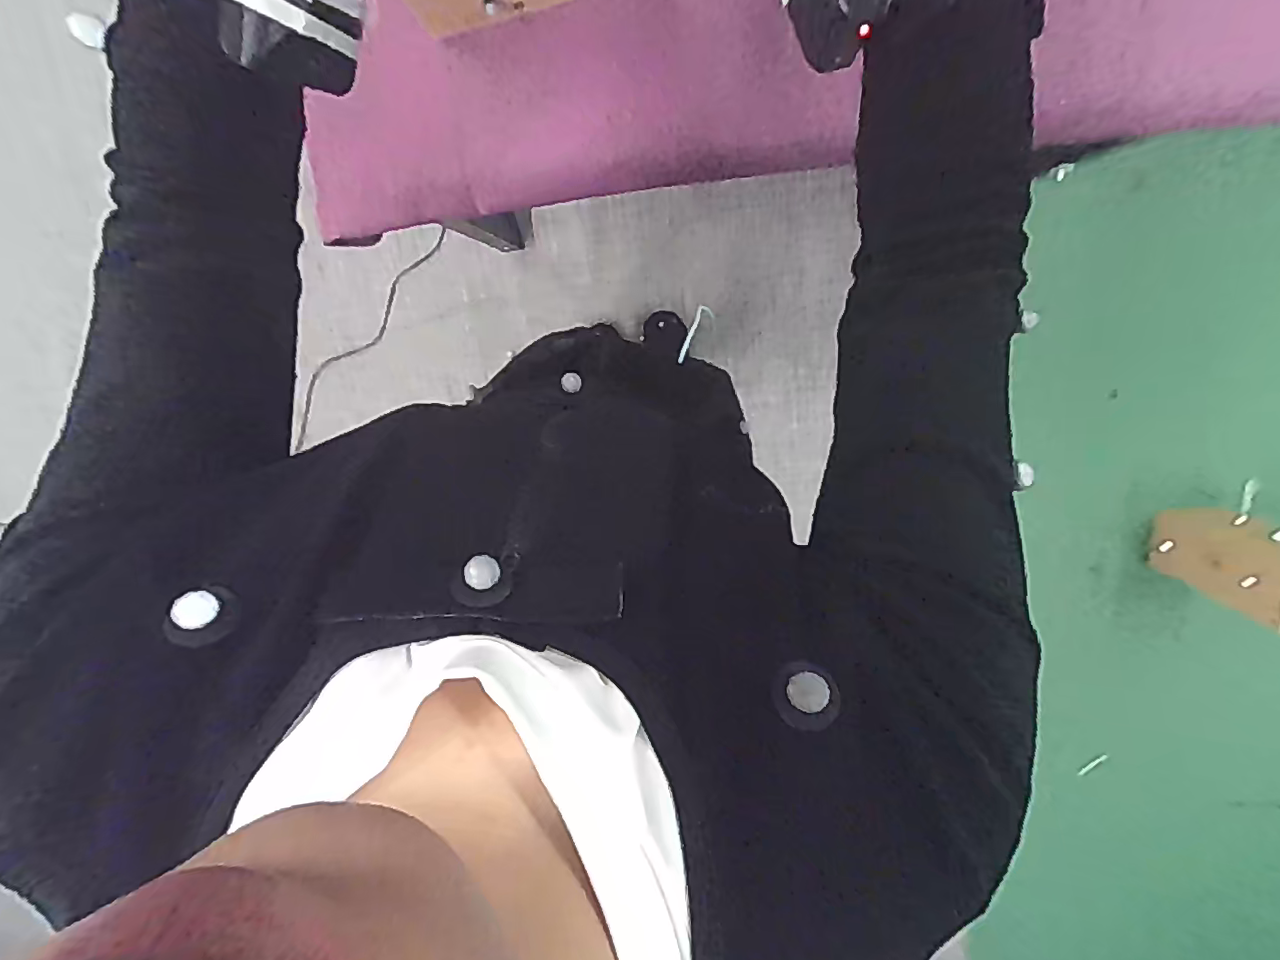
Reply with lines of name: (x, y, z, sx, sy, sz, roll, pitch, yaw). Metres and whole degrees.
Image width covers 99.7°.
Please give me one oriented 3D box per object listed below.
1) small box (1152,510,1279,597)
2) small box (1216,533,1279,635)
small box: (1.493, 0.183, 1.392, 0.179, 0.176, 0.168, -6, 106, 4)
small box: (1.489, 0.235, 1.233, 0.168, 0.176, 0.179, -4, 107, 2)
